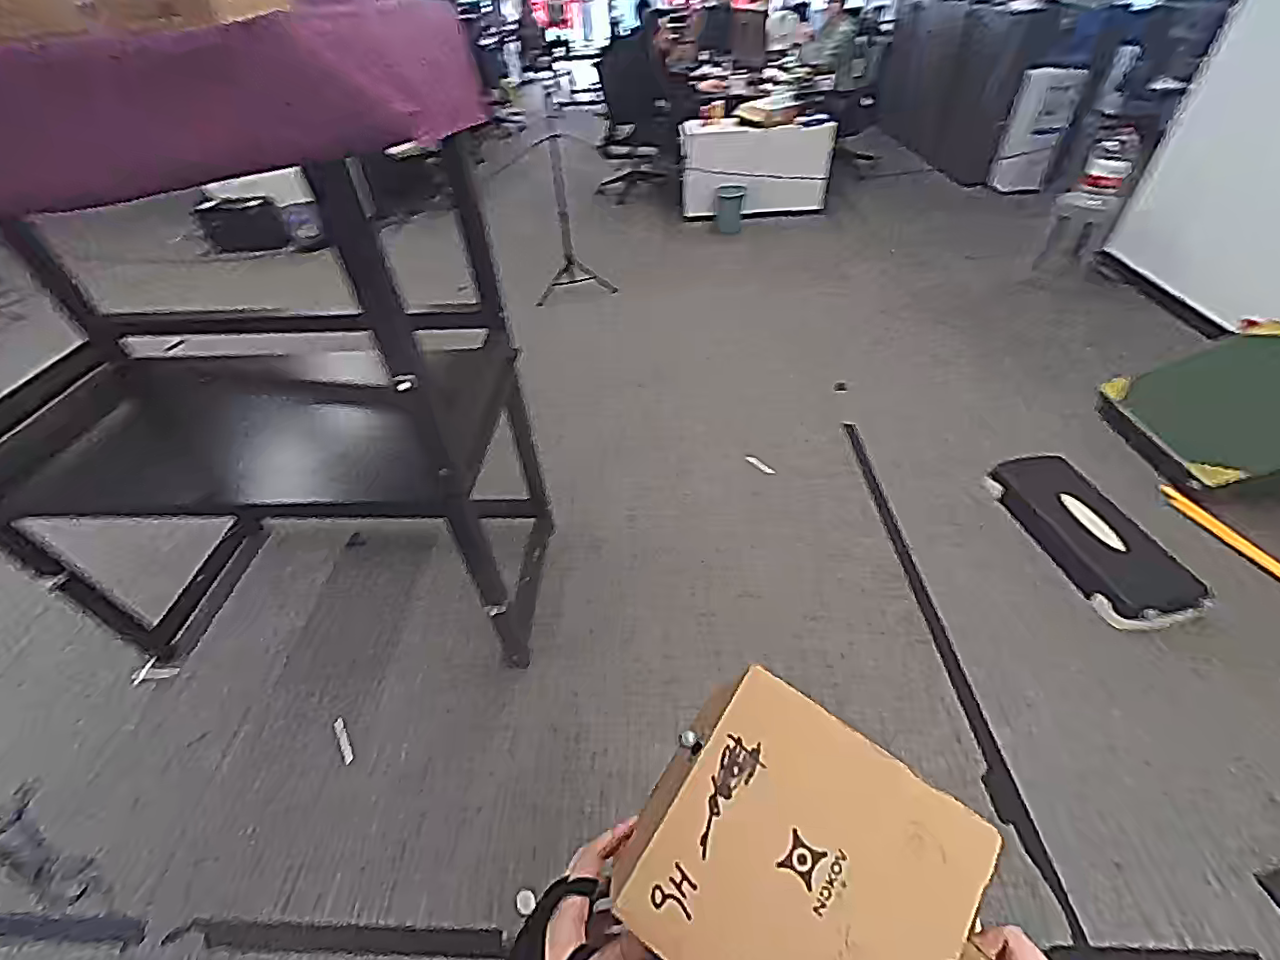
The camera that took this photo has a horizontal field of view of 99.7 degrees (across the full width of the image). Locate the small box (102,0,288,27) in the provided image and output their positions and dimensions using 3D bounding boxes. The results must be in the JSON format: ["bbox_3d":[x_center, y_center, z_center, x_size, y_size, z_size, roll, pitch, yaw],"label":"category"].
[{"bbox_3d":[-0.584,-0.681,0.675,0.168,0.176,0.179,1,44,7],"label":"small box"}]

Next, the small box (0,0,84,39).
[{"bbox_3d":[-0.915,-0.687,0.709,0.168,0.176,0.179,-4,43,0],"label":"small box"}]
